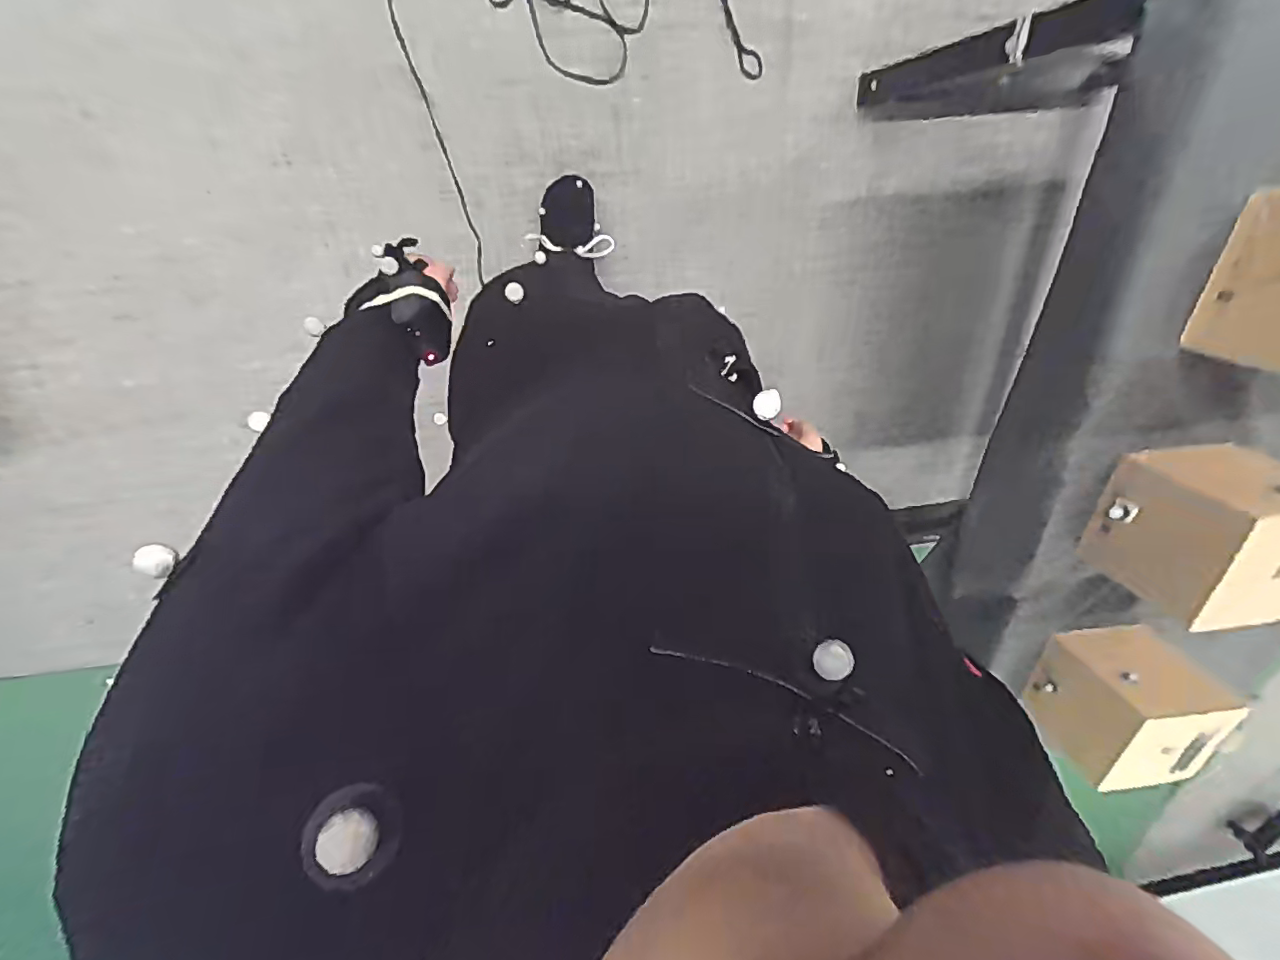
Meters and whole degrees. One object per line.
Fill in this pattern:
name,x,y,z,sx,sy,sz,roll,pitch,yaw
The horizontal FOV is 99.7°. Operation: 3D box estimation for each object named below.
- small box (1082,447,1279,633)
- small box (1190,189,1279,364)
small box,0.731,0.066,0.687,0.179,0.176,0.168,-5,118,-7
small box,0.733,-0.202,0.541,0.179,0.176,0.168,-6,119,-8
